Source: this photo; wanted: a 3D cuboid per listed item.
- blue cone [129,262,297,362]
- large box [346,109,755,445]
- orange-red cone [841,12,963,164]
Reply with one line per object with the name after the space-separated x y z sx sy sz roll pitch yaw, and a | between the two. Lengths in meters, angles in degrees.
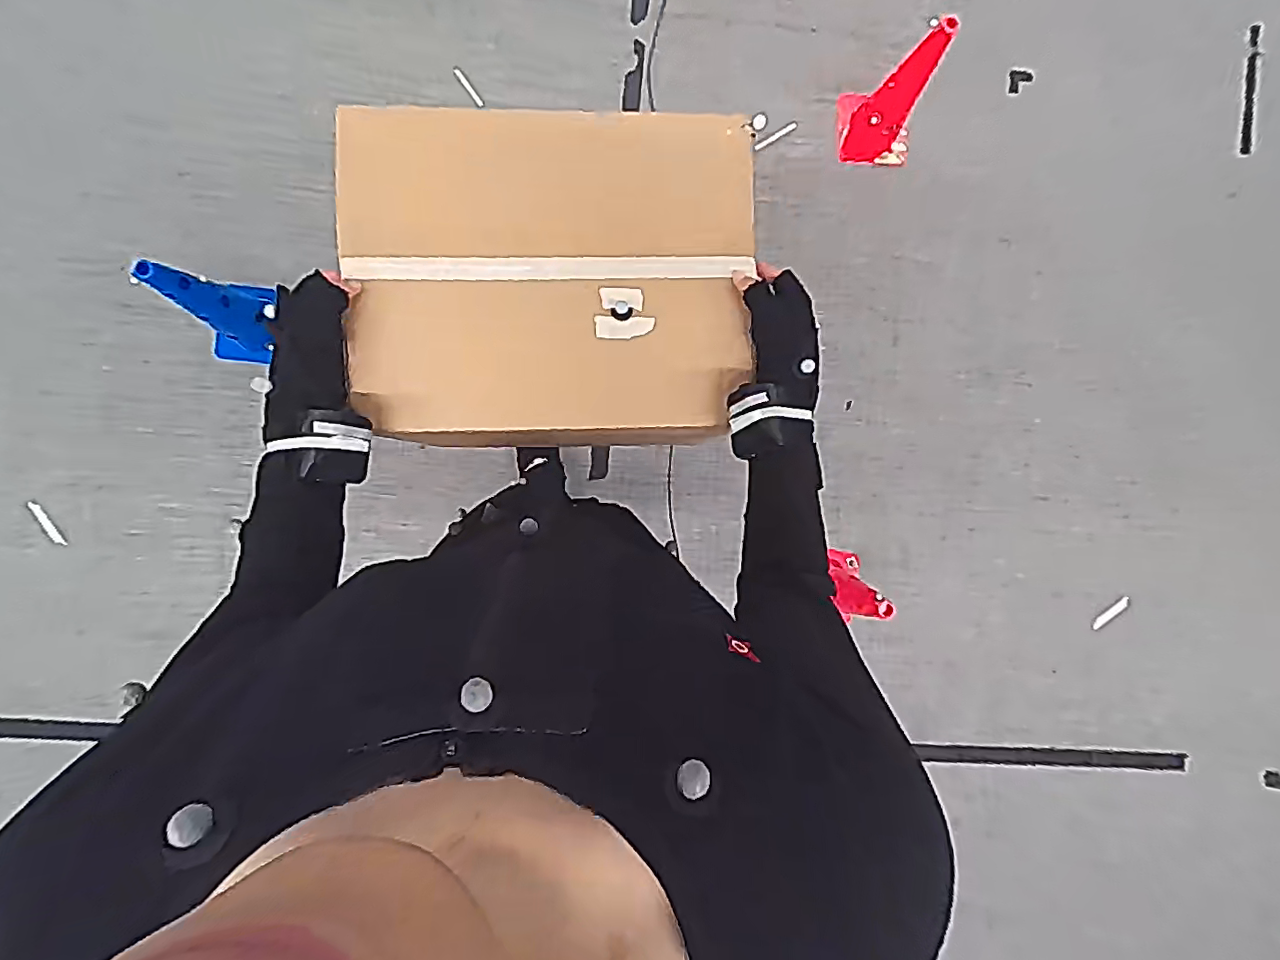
-1.003 -0.415 1.267 0.192 0.380 0.193 7 88 -2 | blue cone
-0.097 -0.215 0.688 0.408 0.320 0.320 -2 91 -5 | large box
0.681 -1.011 1.367 0.198 0.360 0.199 2 87 -4 | orange-red cone
